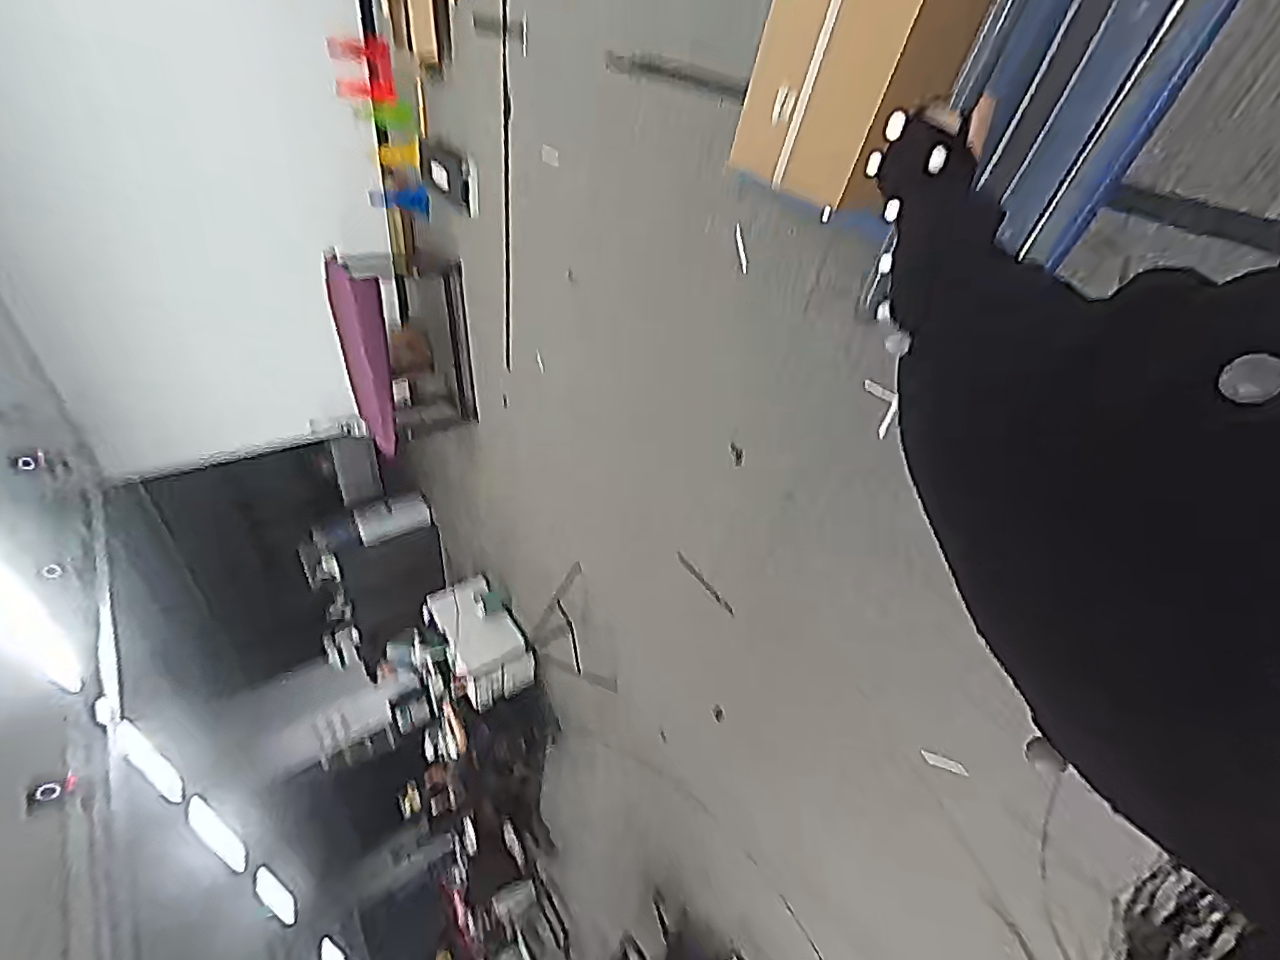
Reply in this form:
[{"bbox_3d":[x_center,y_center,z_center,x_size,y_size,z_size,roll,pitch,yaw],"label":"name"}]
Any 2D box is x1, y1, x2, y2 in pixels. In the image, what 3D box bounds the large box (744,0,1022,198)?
[{"bbox_3d":[0.470,-0.829,1.071,0.320,0.320,0.408,47,142,31],"label":"large box"}]
